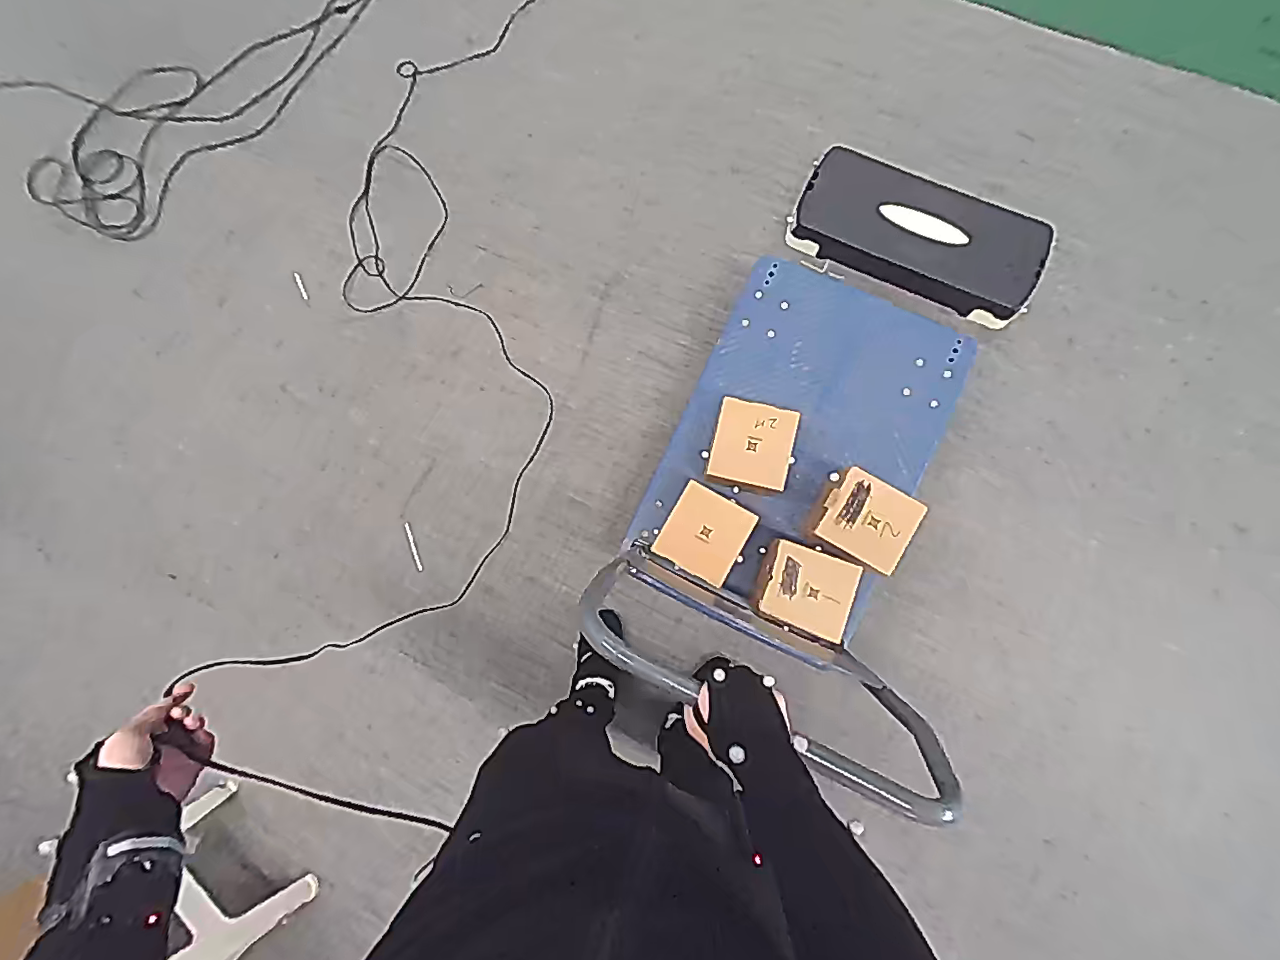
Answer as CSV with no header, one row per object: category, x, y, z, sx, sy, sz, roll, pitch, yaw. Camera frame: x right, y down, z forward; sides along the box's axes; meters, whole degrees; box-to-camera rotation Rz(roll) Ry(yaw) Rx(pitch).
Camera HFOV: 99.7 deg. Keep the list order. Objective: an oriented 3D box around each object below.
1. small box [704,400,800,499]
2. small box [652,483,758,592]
small box,0.243,-0.061,1.219,0.168,0.176,0.179,14,84,4
small box,0.139,0.126,1.206,0.168,0.176,0.179,30,87,6
